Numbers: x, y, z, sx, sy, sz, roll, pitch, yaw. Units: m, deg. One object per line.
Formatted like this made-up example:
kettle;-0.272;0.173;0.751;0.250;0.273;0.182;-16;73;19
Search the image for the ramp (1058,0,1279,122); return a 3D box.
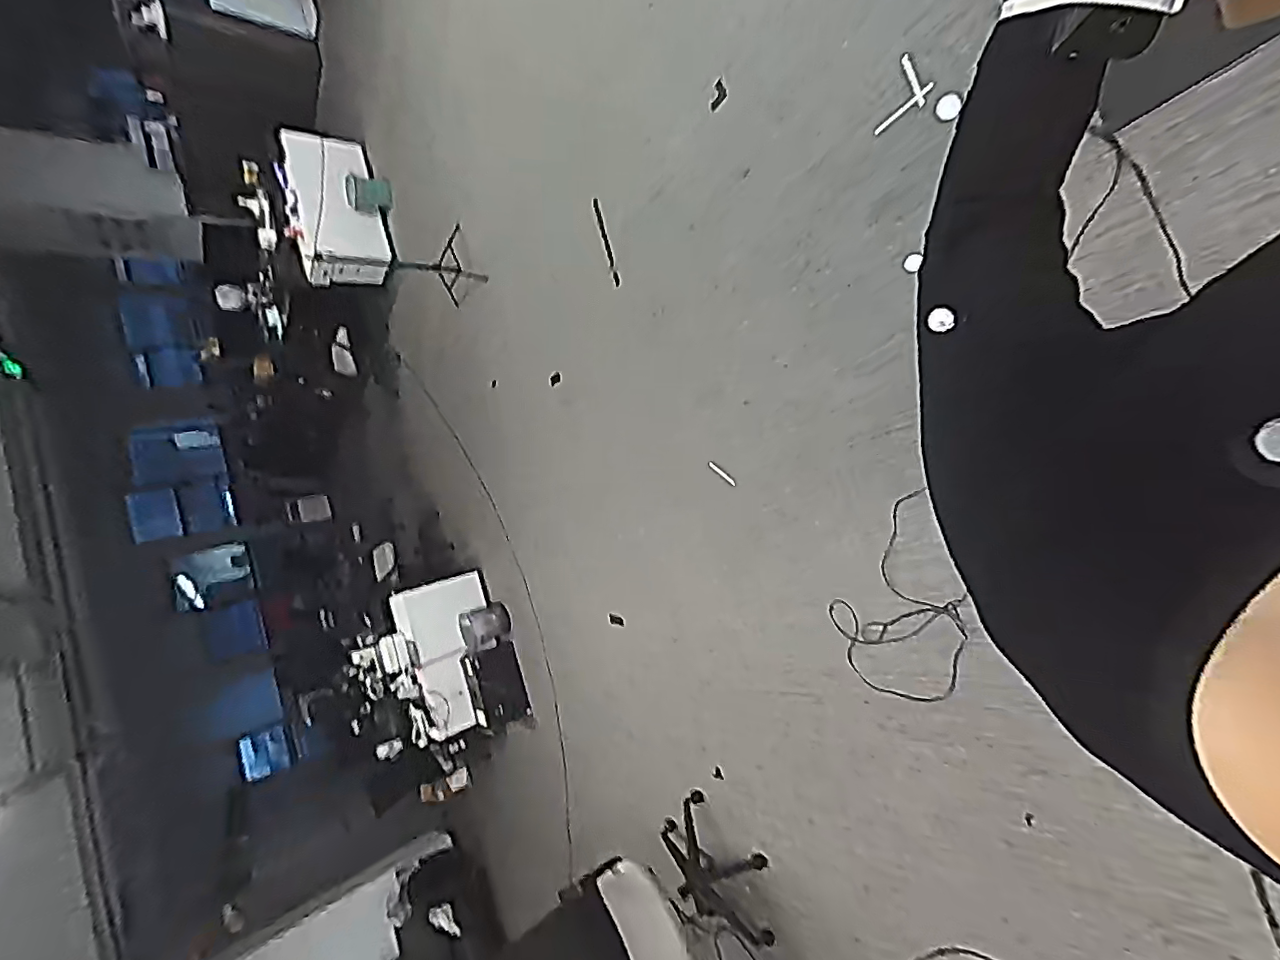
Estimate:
ramp;0.881;-1.220;0.883;0.509;0.206;0.991;-26;80;50
